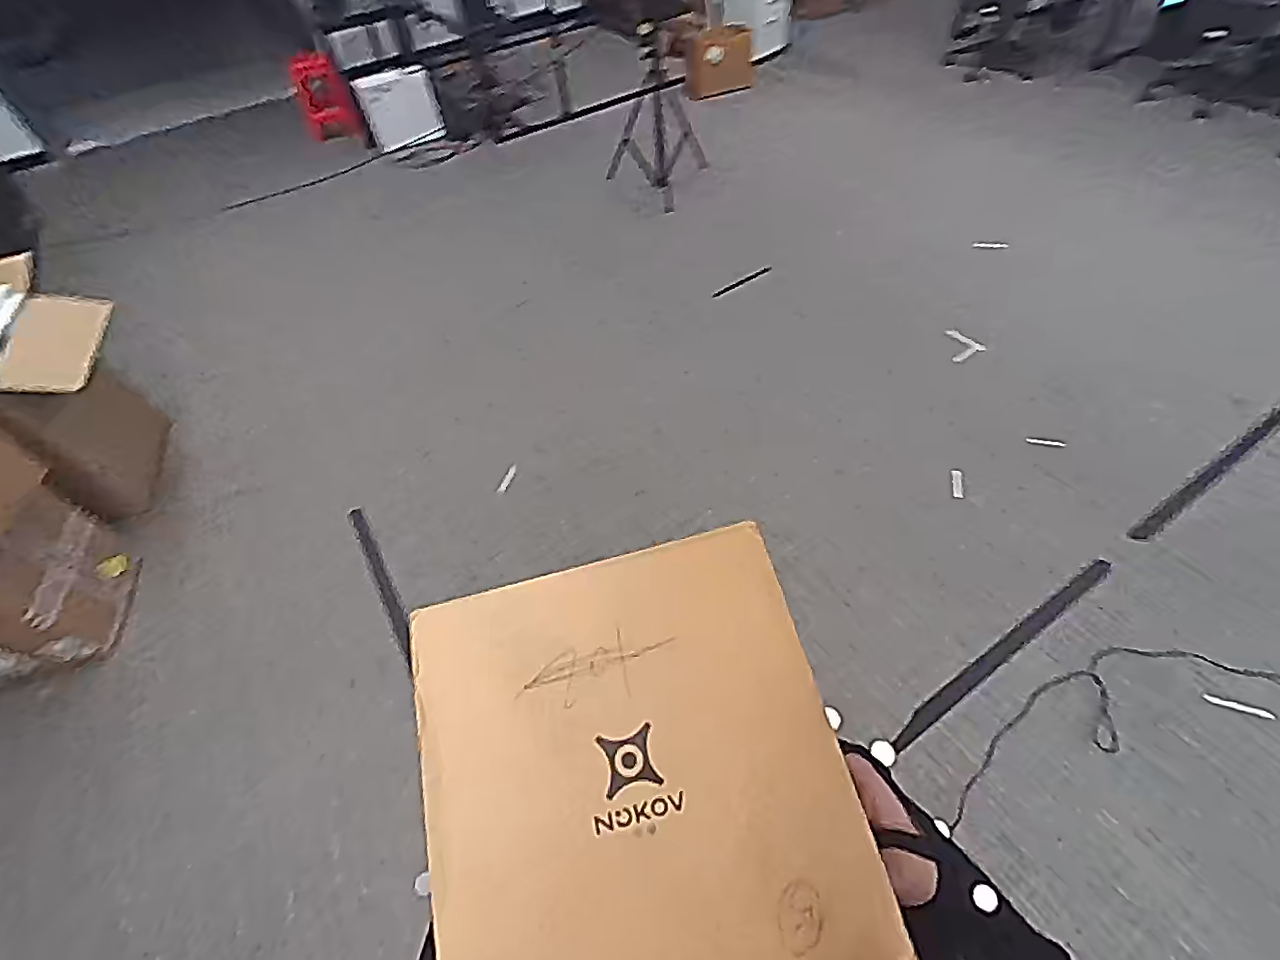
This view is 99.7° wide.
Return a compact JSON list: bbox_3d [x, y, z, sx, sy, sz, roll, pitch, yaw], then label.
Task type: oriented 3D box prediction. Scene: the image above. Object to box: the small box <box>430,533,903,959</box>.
[{"bbox_3d":[0.003,0.153,0.300,0.168,0.176,0.179,-15,65,-4],"label":"small box"}]
